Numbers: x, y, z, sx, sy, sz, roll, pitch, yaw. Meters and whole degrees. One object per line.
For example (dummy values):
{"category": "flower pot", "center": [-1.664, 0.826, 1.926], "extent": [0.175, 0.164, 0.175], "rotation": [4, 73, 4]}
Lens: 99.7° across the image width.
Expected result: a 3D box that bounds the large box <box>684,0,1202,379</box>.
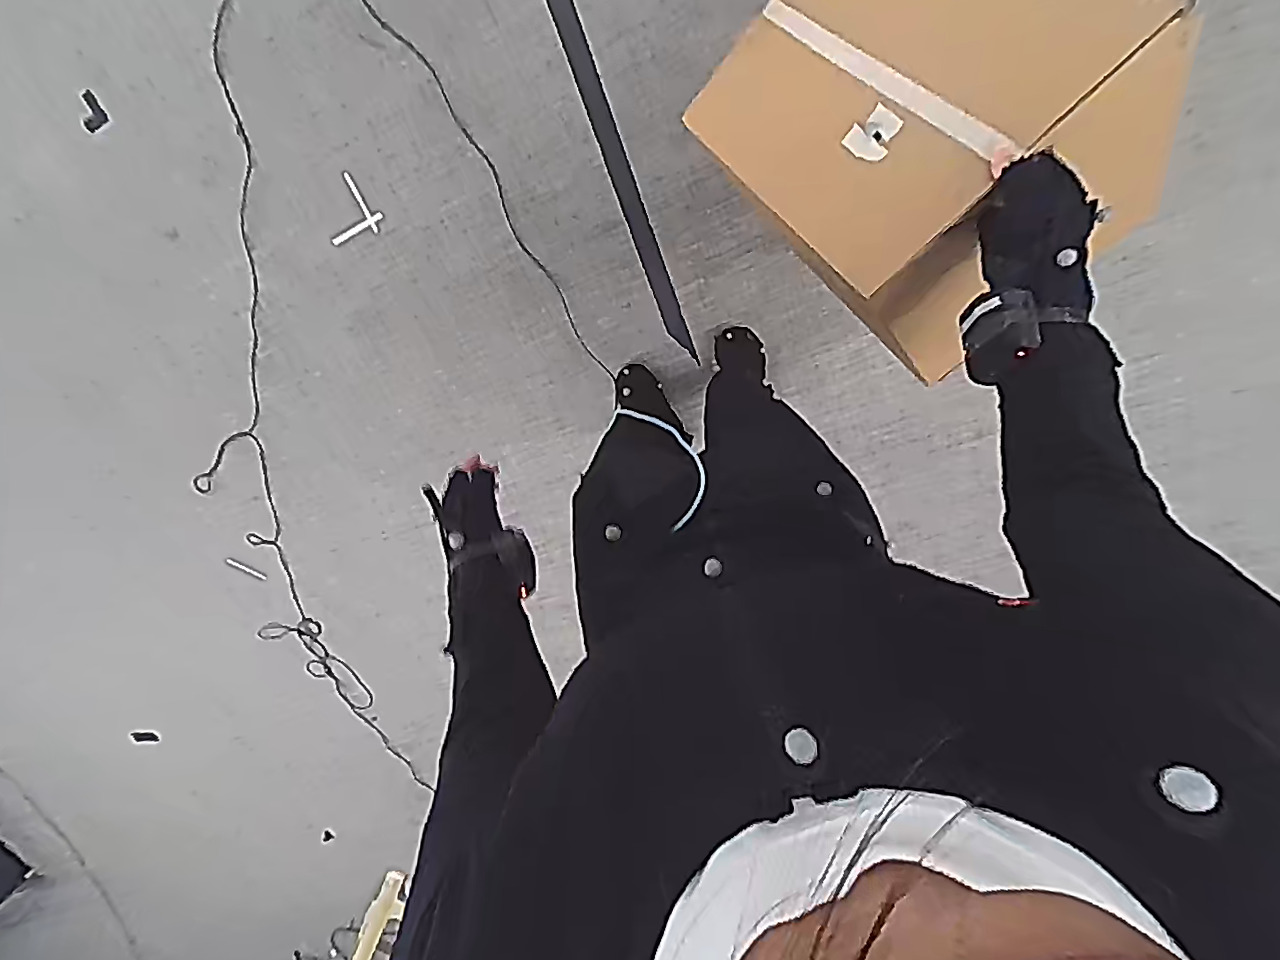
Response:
{"category": "large box", "center": [0.334, -0.402, 0.684], "extent": [0.320, 0.320, 0.408], "rotation": [-45, 59, 25]}
